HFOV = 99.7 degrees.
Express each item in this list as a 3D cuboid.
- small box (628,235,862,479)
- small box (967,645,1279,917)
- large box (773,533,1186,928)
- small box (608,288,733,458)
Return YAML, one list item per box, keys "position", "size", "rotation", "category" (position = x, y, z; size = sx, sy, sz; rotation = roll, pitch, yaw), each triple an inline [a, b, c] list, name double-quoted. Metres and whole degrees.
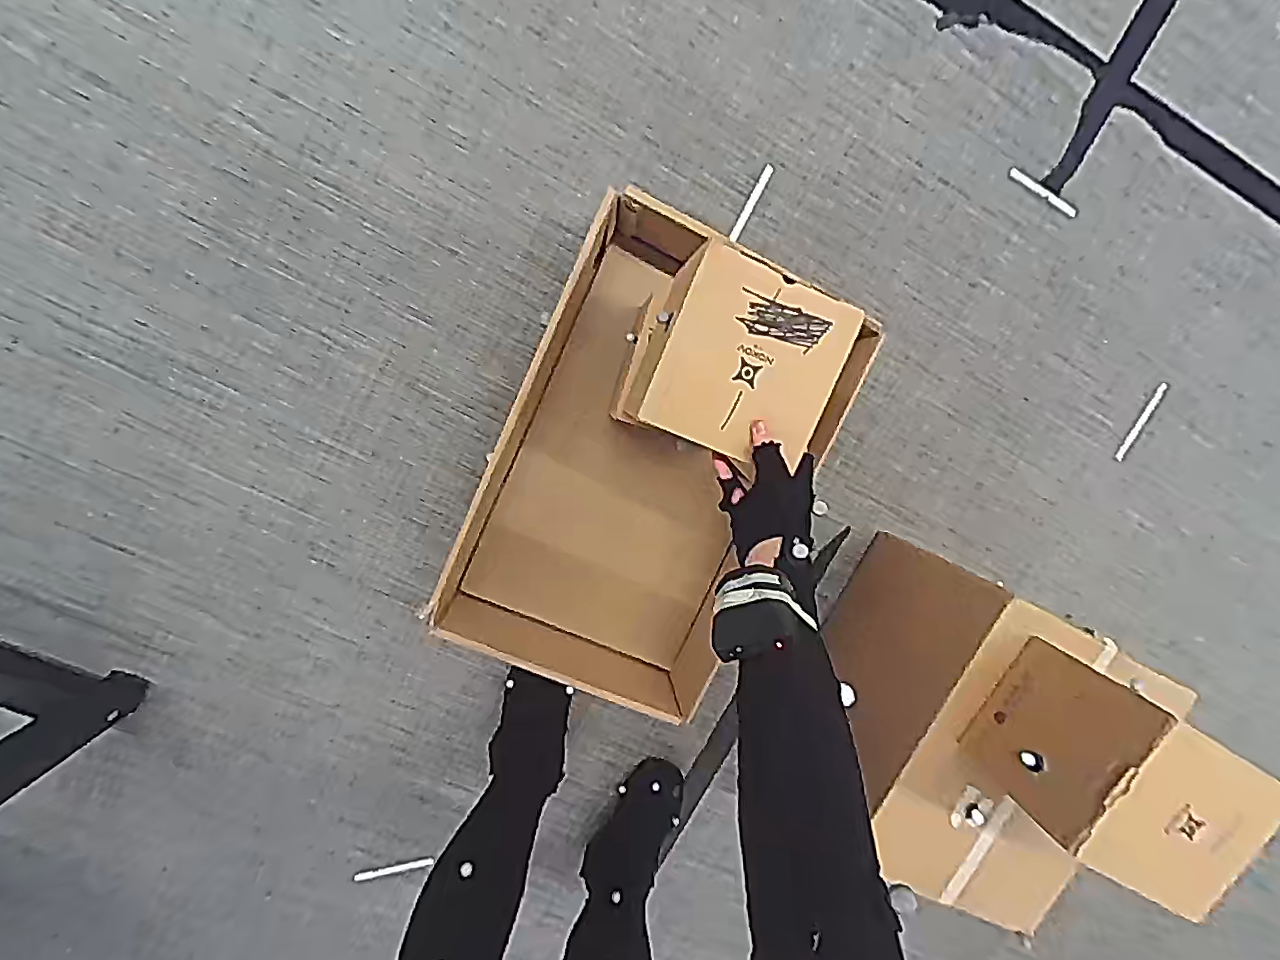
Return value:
- position: [0.093, -0.123, 0.577]
  size: [0.168, 0.176, 0.179]
  rotation: [22, 98, -9]
  category: "small box"
- position: [0.511, 0.307, 0.589]
  size: [0.179, 0.176, 0.168]
  rotation: [29, 97, -9]
  category: "small box"
- position: [0.472, 0.350, 0.840]
  size: [0.320, 0.320, 0.408]
  rotation: [27, 97, -8]
  category: "large box"
- position: [0.064, -0.142, 0.738]
  size: [0.179, 0.176, 0.168]
  rotation: [17, 98, -9]
  category: "small box"
